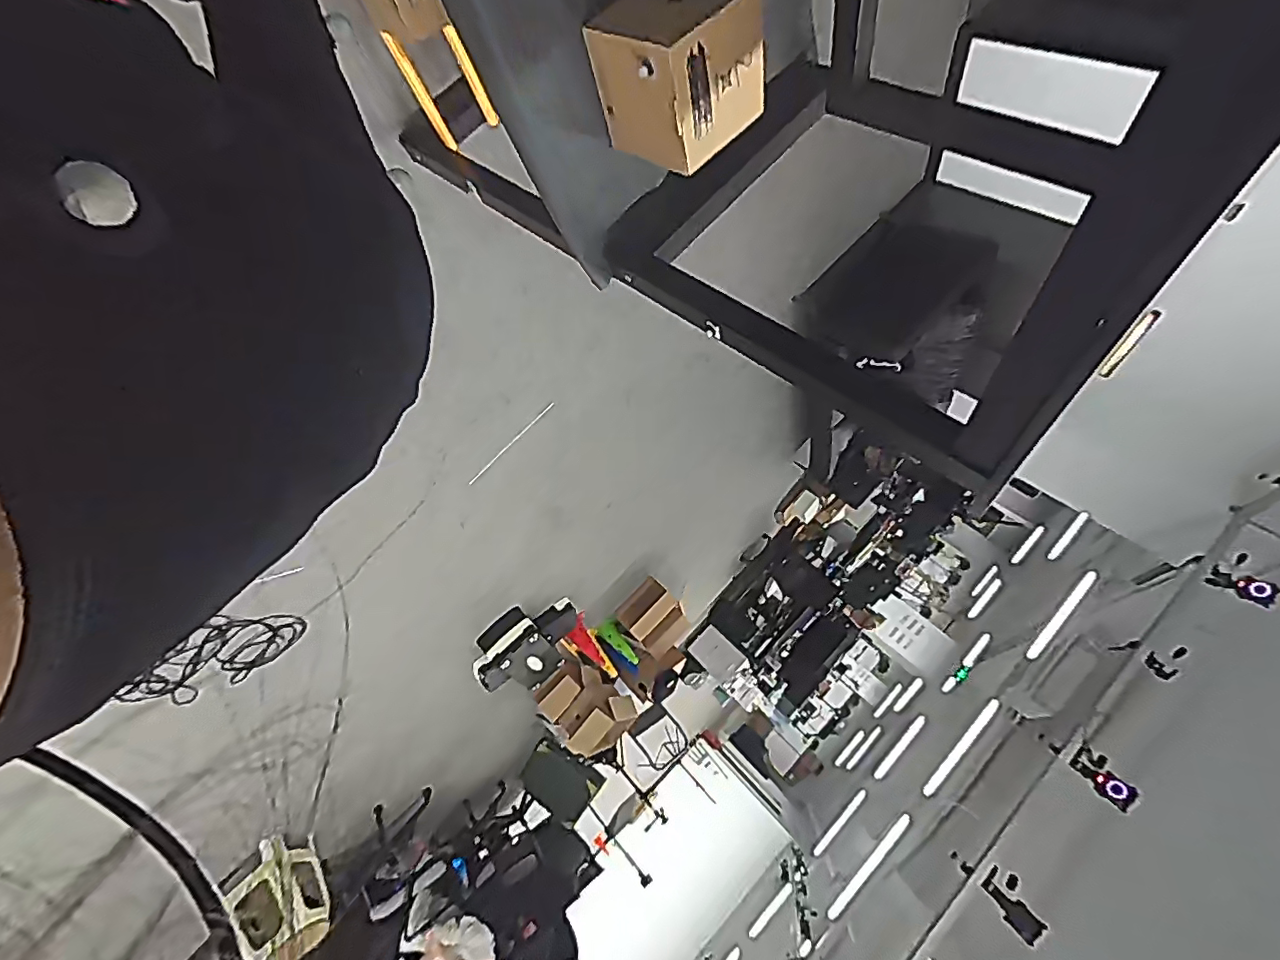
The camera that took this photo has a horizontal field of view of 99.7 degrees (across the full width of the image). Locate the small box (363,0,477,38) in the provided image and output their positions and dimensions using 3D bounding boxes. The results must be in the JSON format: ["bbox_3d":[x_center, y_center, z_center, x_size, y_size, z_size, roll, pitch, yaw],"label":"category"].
[{"bbox_3d":[-0.426,-0.945,0.974,0.179,0.176,0.168,-43,152,-12],"label":"small box"}]
